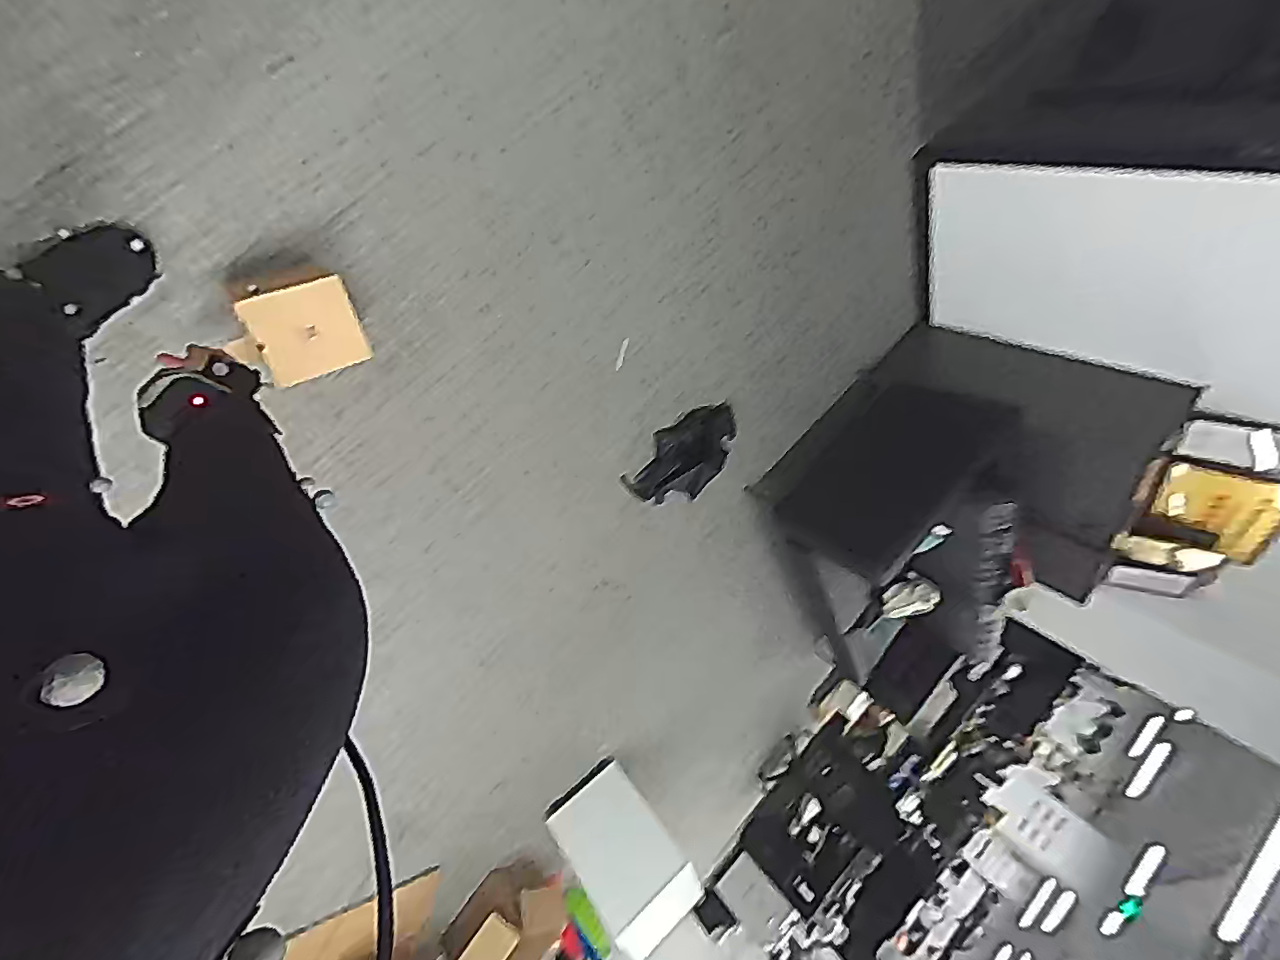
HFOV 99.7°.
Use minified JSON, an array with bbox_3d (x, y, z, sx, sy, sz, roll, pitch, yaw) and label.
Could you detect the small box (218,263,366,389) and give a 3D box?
[{"bbox_3d":[-0.666,-0.303,1.036,0.179,0.176,0.168,-29,133,-26],"label":"small box"}]
